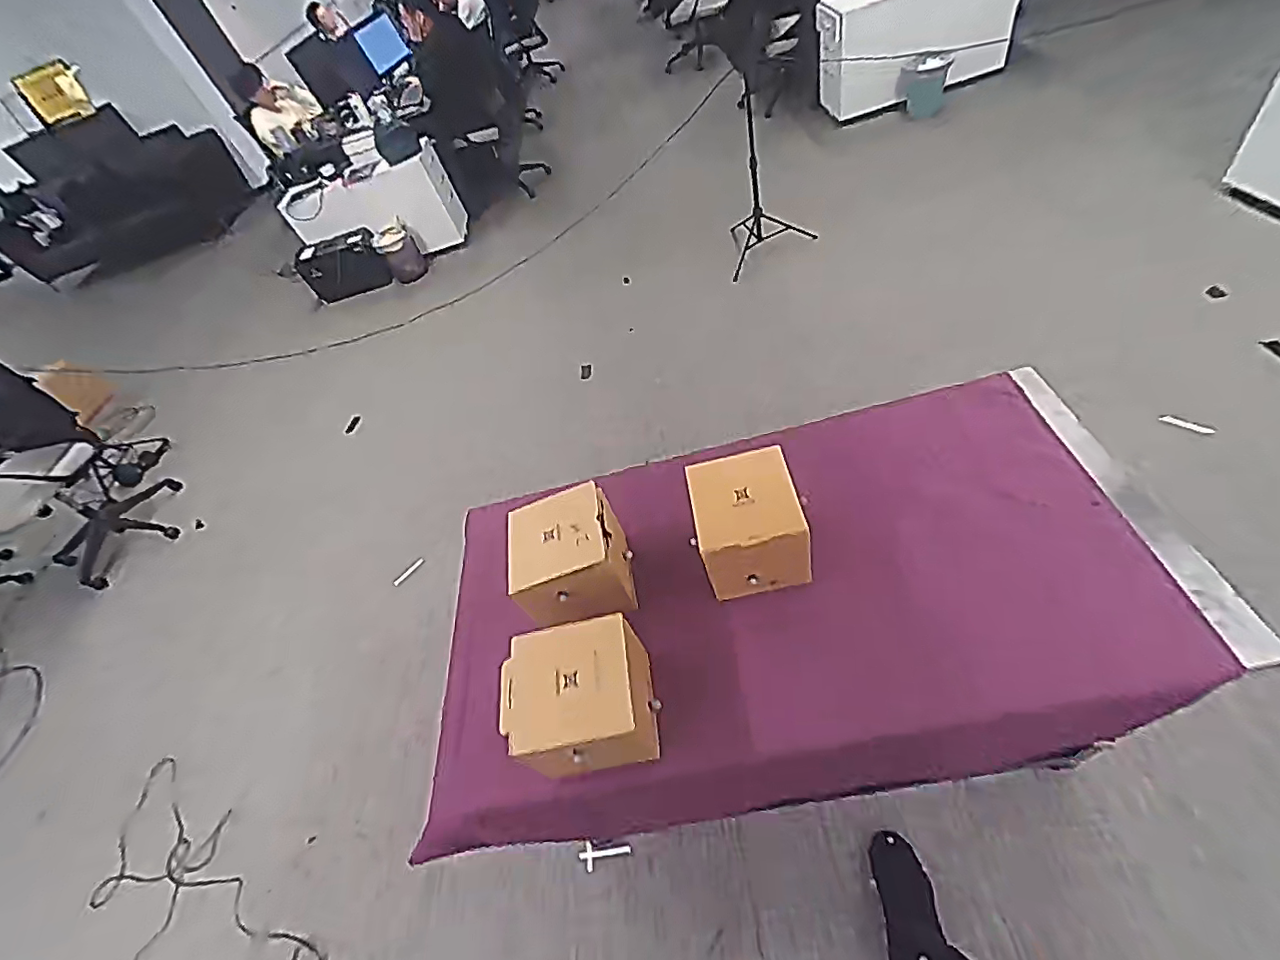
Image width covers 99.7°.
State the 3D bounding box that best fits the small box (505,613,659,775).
[{"bbox_3d":[-0.082,0.324,0.807,0.179,0.176,0.168,-14,50,6],"label":"small box"}]

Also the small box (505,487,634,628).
[{"bbox_3d":[-0.123,0.144,0.962,0.179,0.176,0.168,-16,50,5],"label":"small box"}]
